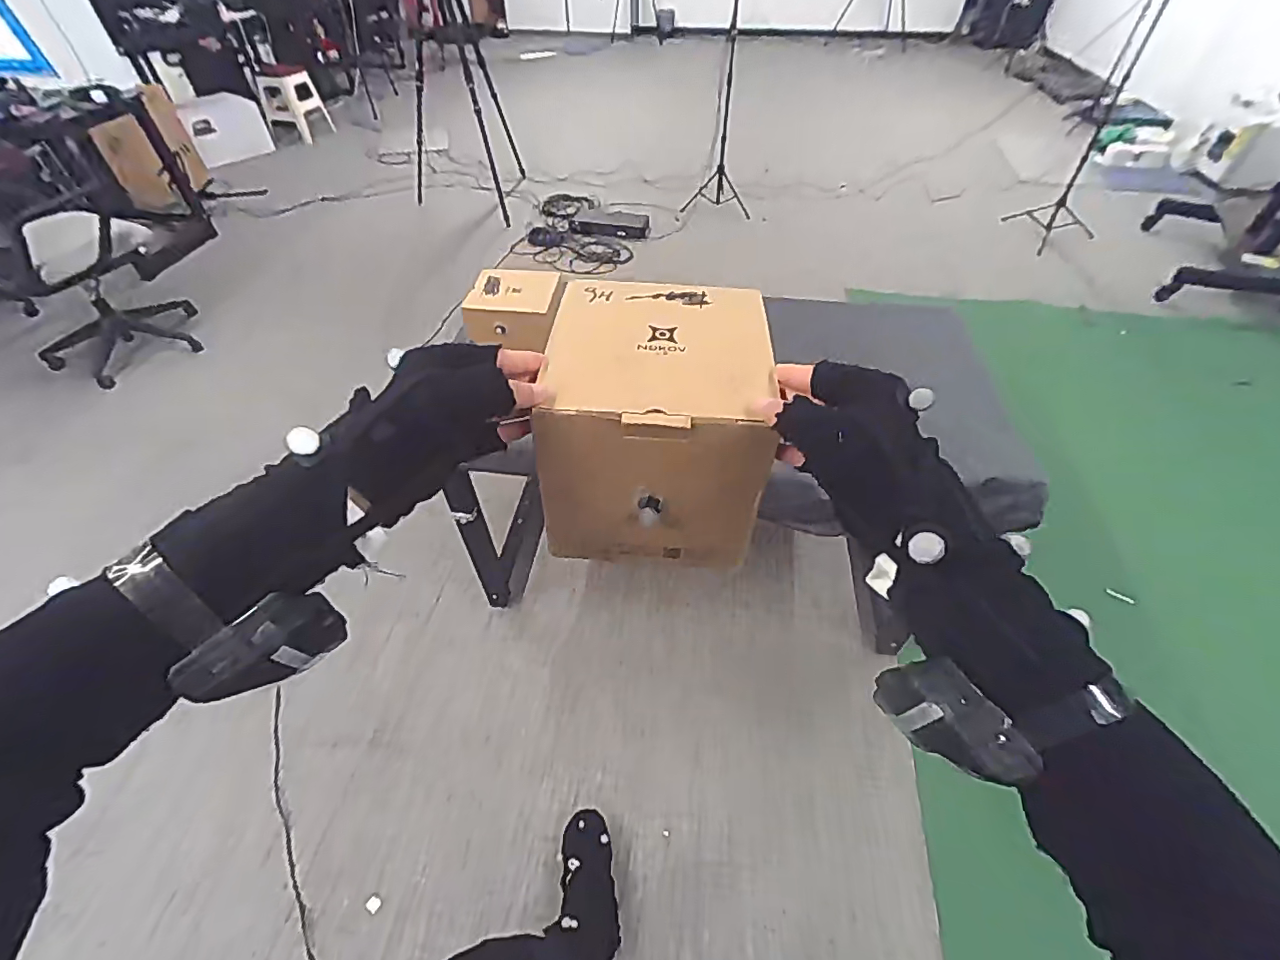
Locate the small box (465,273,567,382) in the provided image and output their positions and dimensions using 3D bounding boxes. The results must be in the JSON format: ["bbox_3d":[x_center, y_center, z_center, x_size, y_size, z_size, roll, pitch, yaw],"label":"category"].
[{"bbox_3d":[-0.255,-0.328,1.174,0.179,0.176,0.168,4,48,3],"label":"small box"}]

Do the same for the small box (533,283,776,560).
[{"bbox_3d":[0.014,-0.048,0.469,0.168,0.176,0.179,4,48,1],"label":"small box"}]
